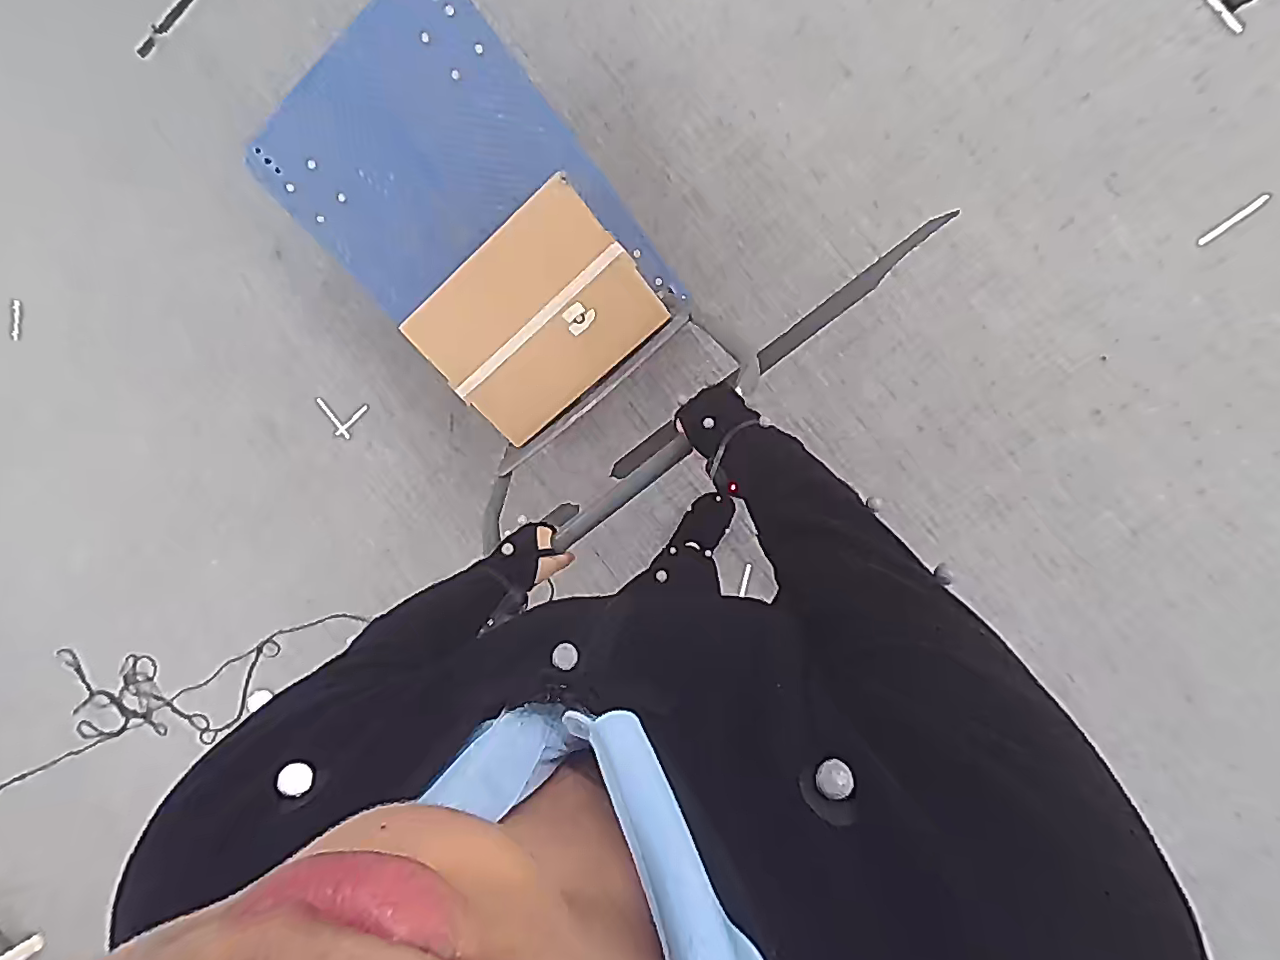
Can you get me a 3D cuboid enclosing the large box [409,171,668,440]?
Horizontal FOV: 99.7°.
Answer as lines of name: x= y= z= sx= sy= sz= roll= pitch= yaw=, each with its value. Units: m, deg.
large box: x=-0.200 y=-0.358 z=1.157 sx=0.408 sy=0.320 sz=0.320 roll=-40 pitch=109 yaw=10
